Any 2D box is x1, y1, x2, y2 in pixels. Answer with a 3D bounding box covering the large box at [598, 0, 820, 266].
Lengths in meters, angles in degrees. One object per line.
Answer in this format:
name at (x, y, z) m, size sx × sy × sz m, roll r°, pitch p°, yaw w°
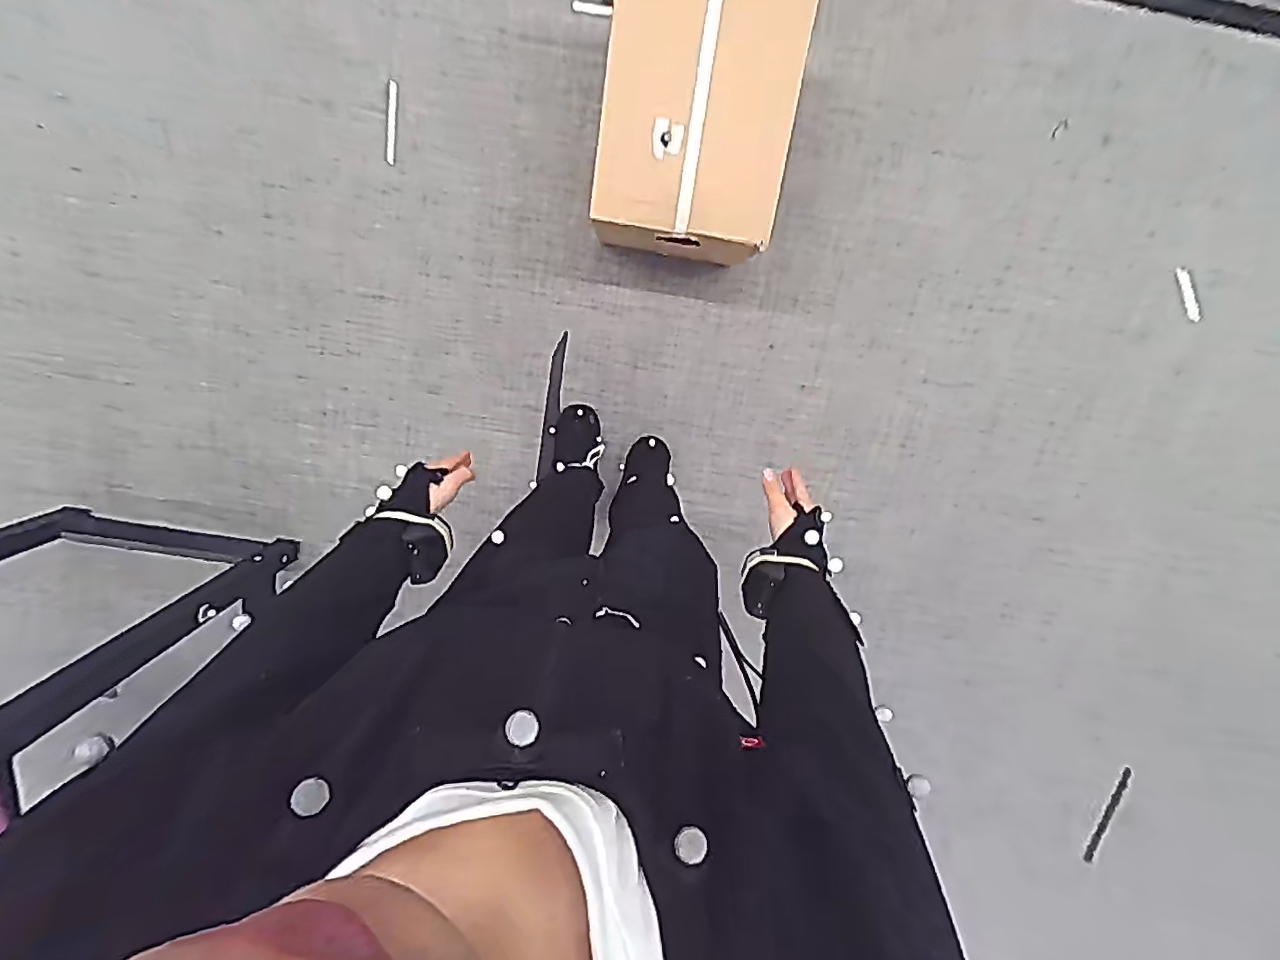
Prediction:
large box at (0.100, -0.647, 1.009) m, size 0.320 × 0.320 × 0.408 m, roll 8°, pitch 106°, yaw -3°
